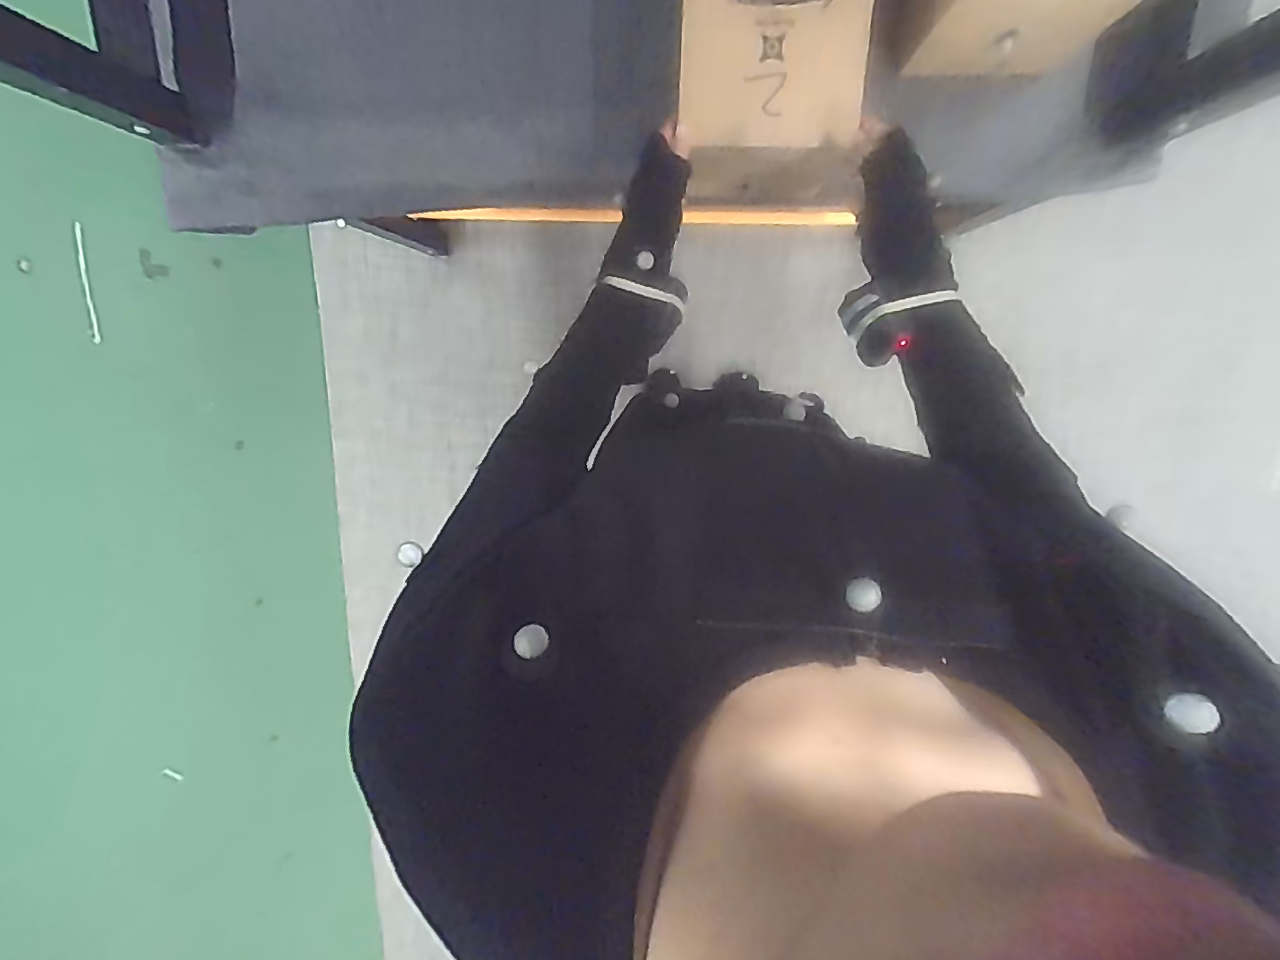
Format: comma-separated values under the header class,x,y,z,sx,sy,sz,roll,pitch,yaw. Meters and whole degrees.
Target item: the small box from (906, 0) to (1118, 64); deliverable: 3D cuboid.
class,x,y,z,sx,sy,sz,roll,pitch,yaw
small box,0.371,-0.527,0.509,0.168,0.176,0.179,2,103,4
